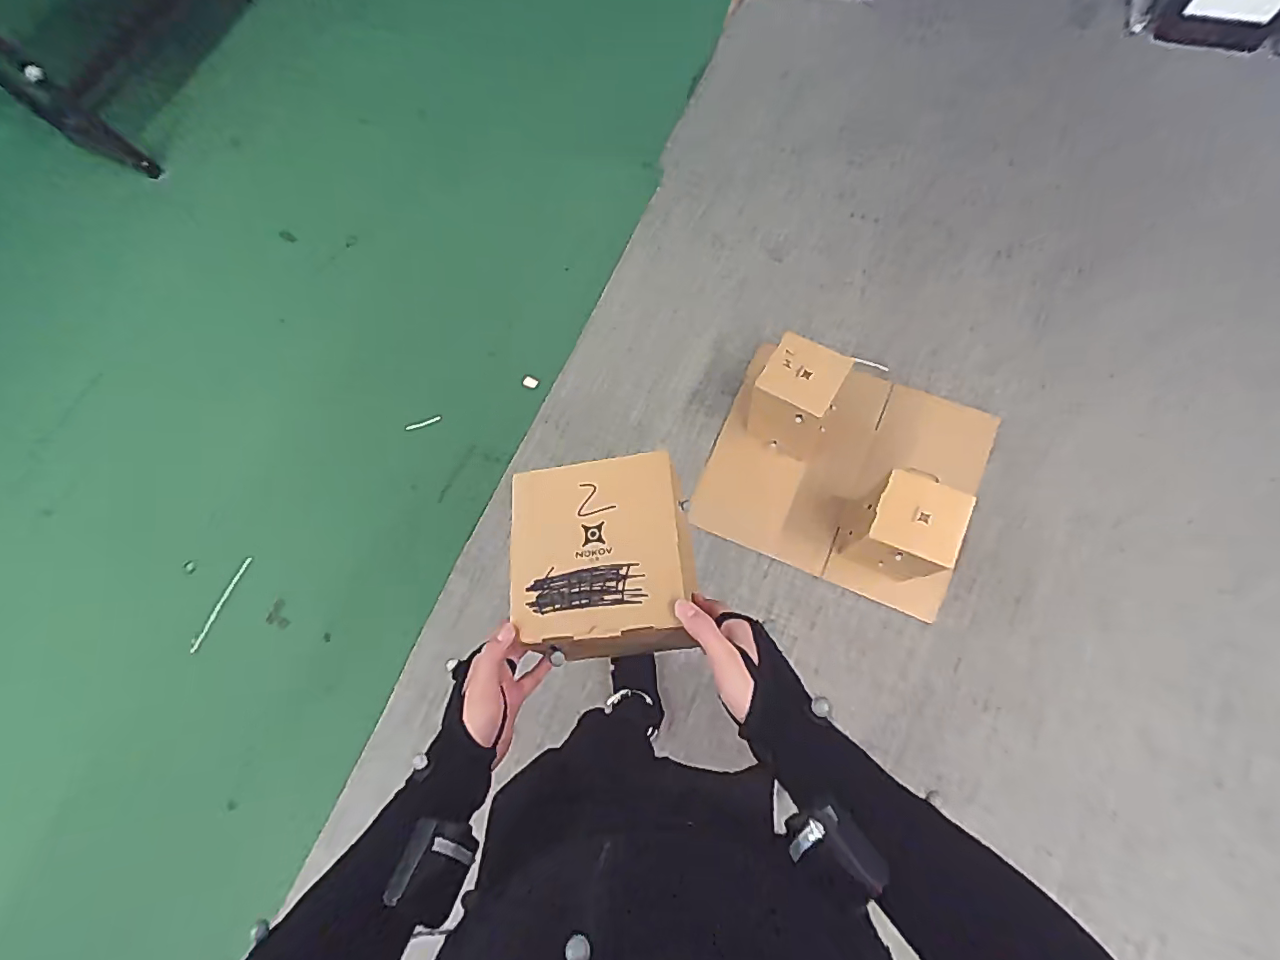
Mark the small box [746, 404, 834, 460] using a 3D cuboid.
[{"bbox_3d":[0.410,-0.173,1.488,0.179,0.176,0.168,31,79,15],"label":"small box"}]

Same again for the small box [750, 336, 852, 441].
[{"bbox_3d":[0.386,-0.214,1.328,0.179,0.176,0.168,30,79,16],"label":"small box"}]

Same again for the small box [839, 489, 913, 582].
[{"bbox_3d":[0.624,0.147,1.363,0.179,0.176,0.168,23,78,14],"label":"small box"}]

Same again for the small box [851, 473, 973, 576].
[{"bbox_3d":[0.598,0.107,1.208,0.179,0.176,0.168,22,79,15],"label":"small box"}]
